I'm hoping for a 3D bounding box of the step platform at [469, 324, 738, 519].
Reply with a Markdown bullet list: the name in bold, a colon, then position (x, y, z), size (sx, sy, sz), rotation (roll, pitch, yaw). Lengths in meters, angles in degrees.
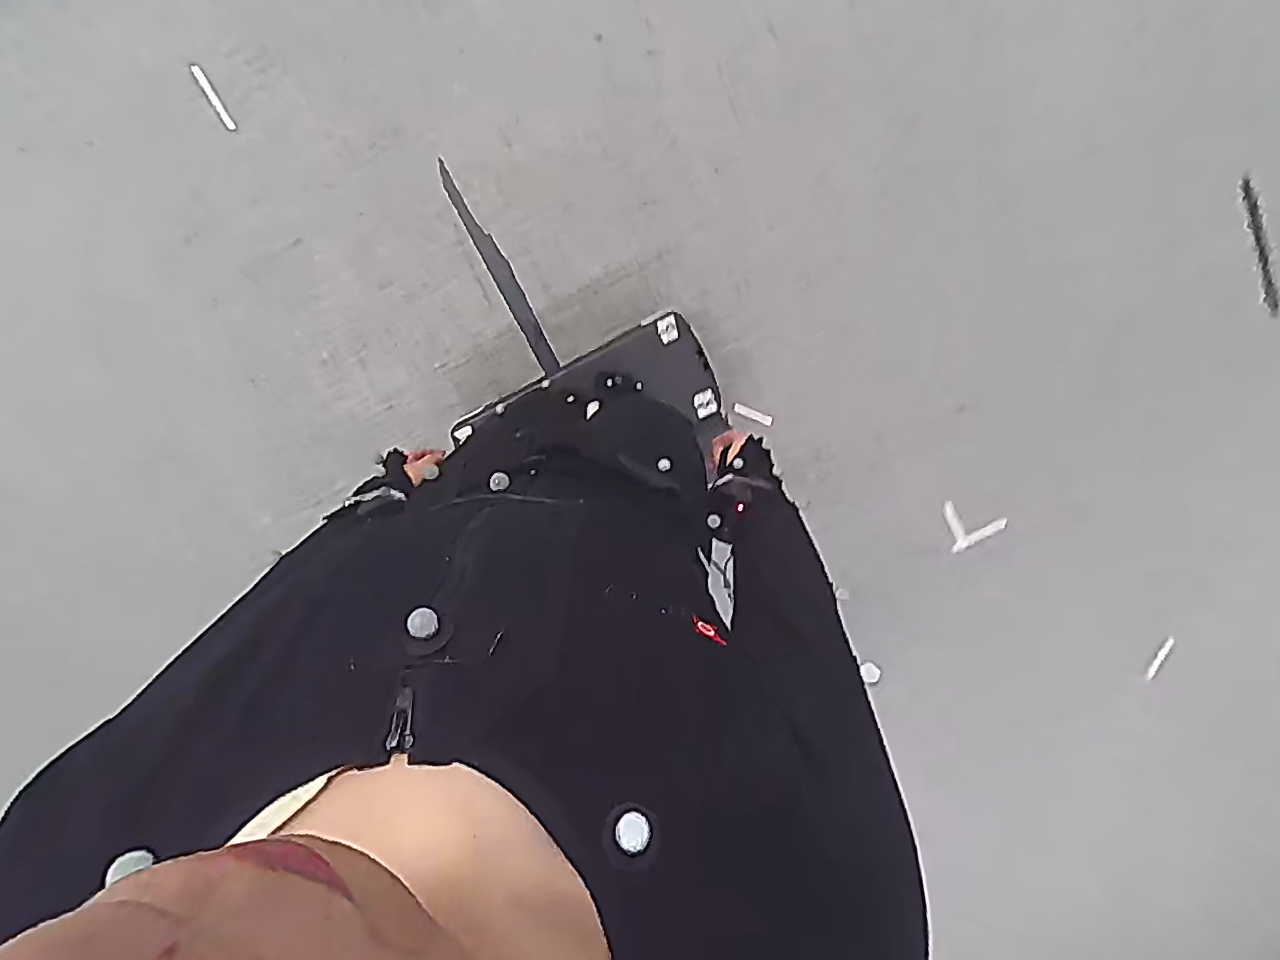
- **step platform**: position (-0.093, -0.152, 1.428), size (0.684, 0.204, 0.286), rotation (-23, 103, 4)
